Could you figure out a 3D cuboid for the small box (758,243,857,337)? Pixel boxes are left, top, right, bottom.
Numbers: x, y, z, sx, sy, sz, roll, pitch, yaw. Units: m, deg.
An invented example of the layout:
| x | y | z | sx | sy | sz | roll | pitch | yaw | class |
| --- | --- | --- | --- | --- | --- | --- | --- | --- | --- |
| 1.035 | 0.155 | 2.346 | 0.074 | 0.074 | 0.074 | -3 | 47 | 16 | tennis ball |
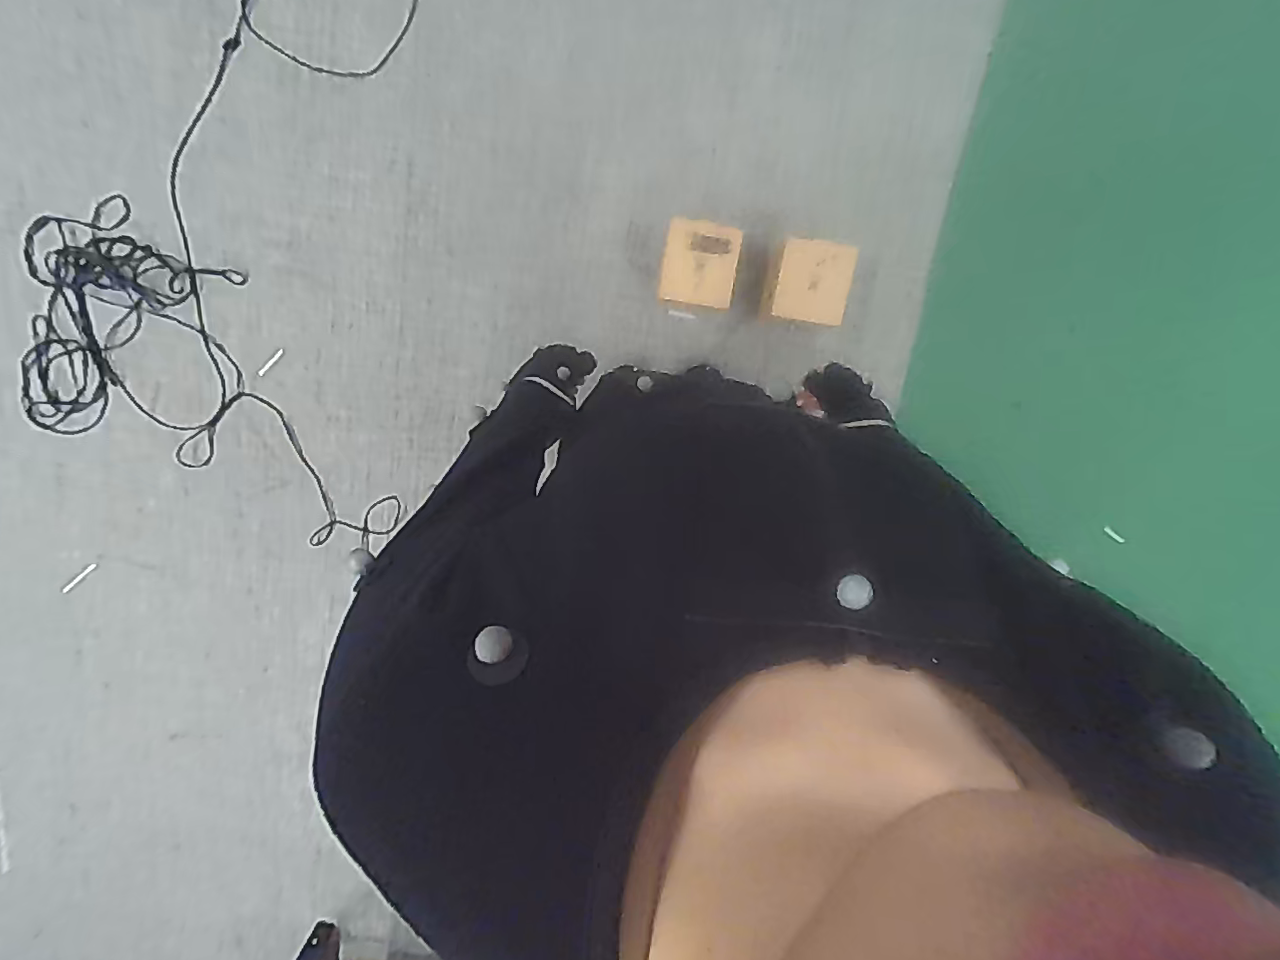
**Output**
| x | y | z | sx | sy | sz | roll | pitch | yaw | class |
| --- | --- | --- | --- | --- | --- | --- | --- | --- | --- |
| 0.393 | -0.449 | 1.303 | 0.168 | 0.176 | 0.179 | 9 | 101 | -2 | small box |
